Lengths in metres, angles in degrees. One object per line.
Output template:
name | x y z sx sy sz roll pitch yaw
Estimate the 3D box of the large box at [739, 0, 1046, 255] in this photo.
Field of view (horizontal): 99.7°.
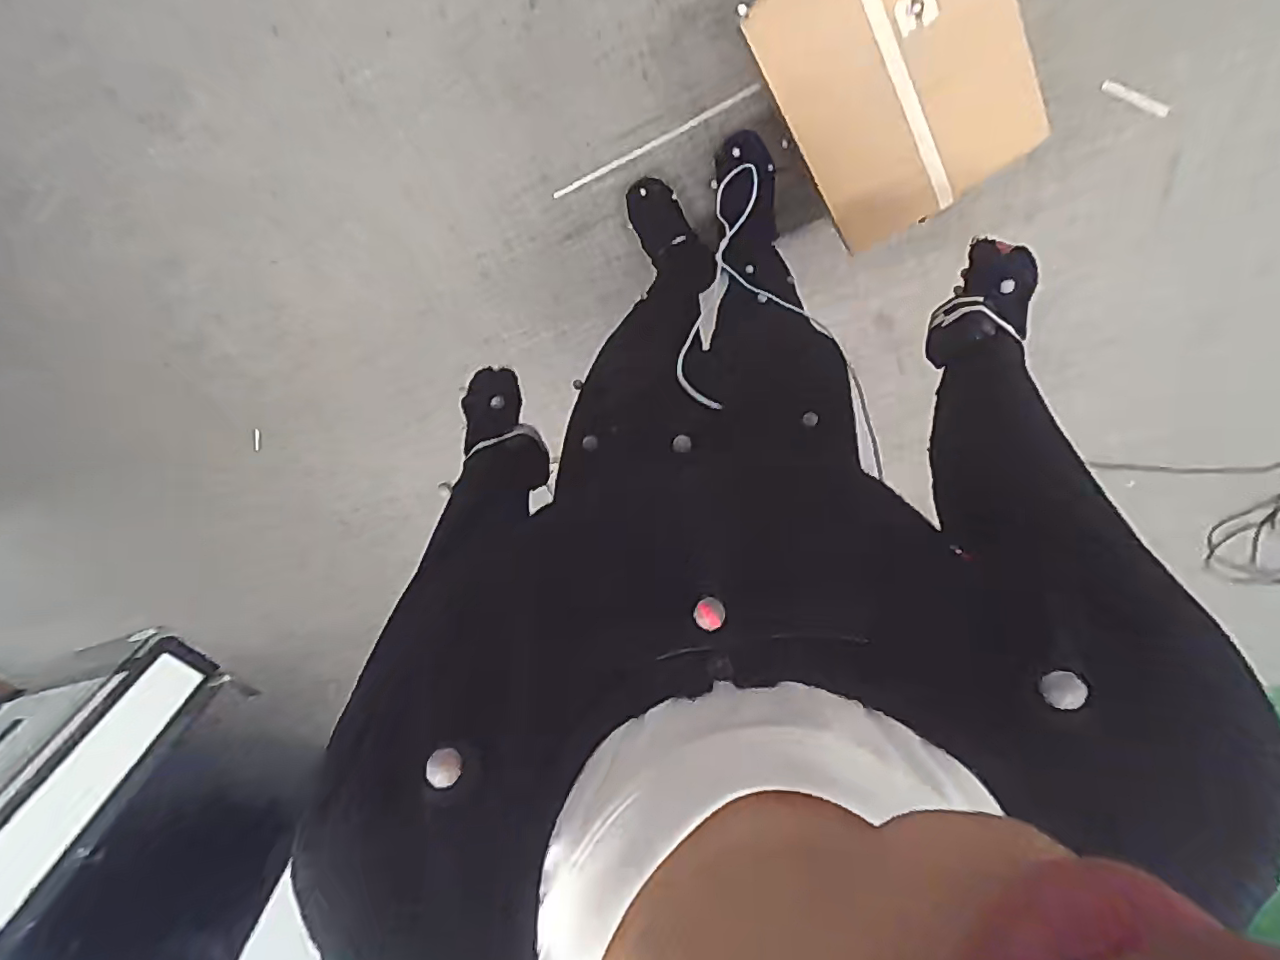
large box | 0.407 -0.683 0.929 0.320 0.320 0.408 -28 119 27
